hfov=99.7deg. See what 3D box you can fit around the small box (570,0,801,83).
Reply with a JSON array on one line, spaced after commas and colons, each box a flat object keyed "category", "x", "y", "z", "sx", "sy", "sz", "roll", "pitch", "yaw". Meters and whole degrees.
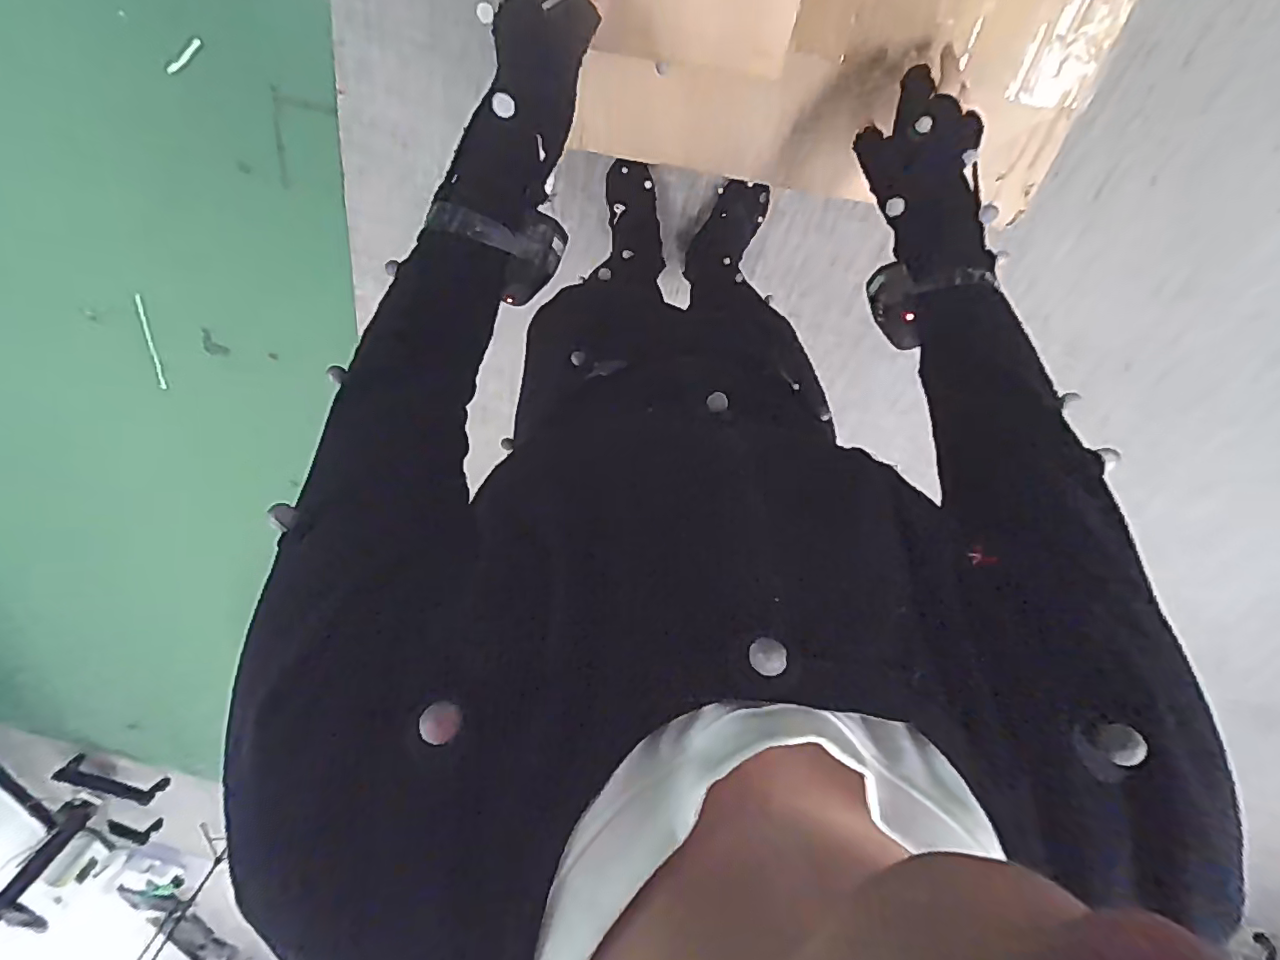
[{"category": "small box", "x": 0.051, "y": -0.448, "z": 0.435, "sx": 0.179, "sy": 0.176, "sz": 0.168, "roll": 11, "pitch": 136, "yaw": 1}]
